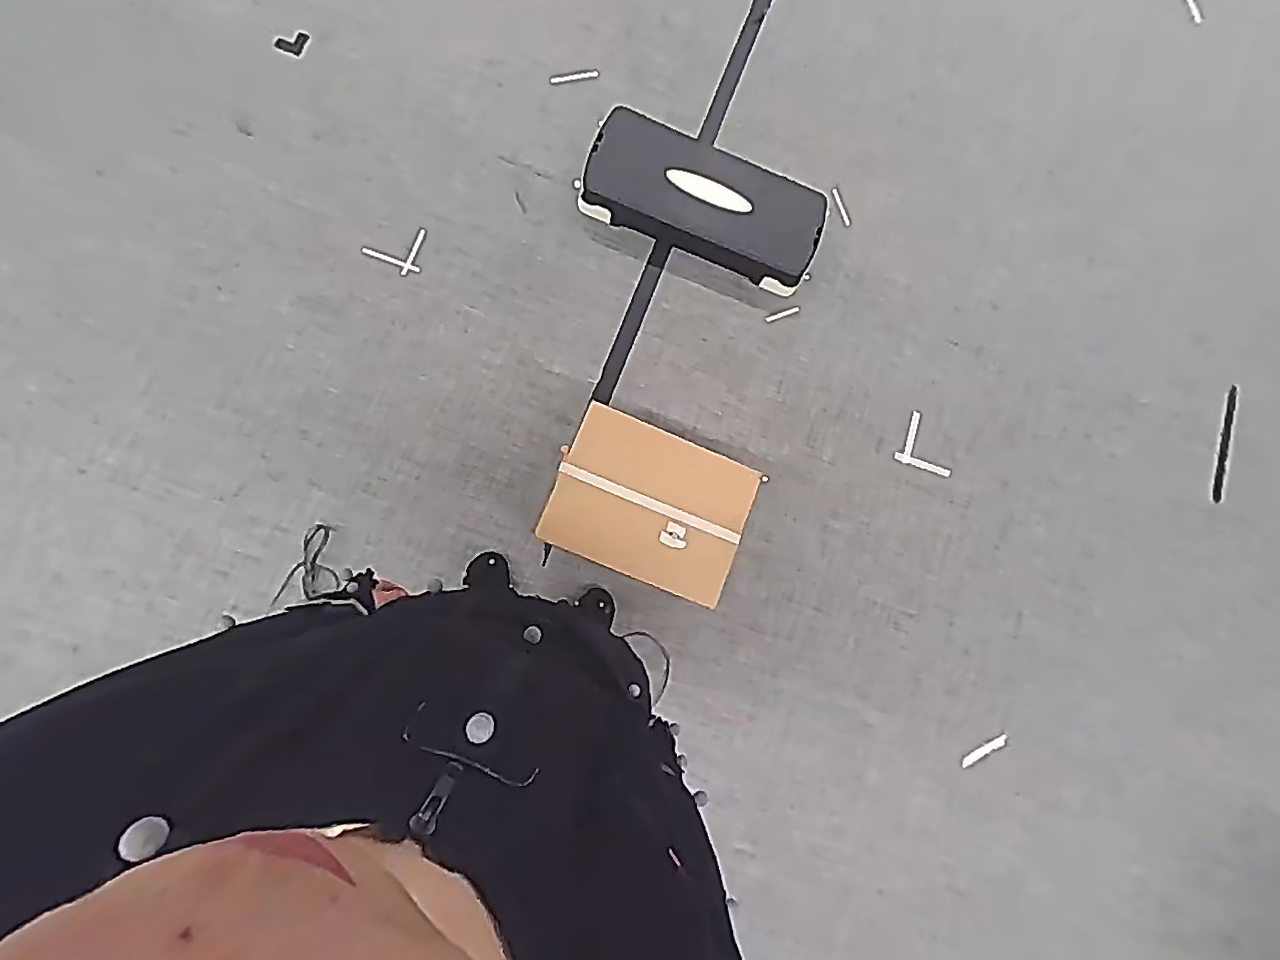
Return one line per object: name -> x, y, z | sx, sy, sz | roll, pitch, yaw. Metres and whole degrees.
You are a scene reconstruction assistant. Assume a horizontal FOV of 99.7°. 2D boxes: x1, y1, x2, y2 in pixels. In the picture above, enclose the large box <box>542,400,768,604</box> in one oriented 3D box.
large box -> 0.015, 0.061, 1.255 | 0.408, 0.320, 0.320 | 23, 81, -5
